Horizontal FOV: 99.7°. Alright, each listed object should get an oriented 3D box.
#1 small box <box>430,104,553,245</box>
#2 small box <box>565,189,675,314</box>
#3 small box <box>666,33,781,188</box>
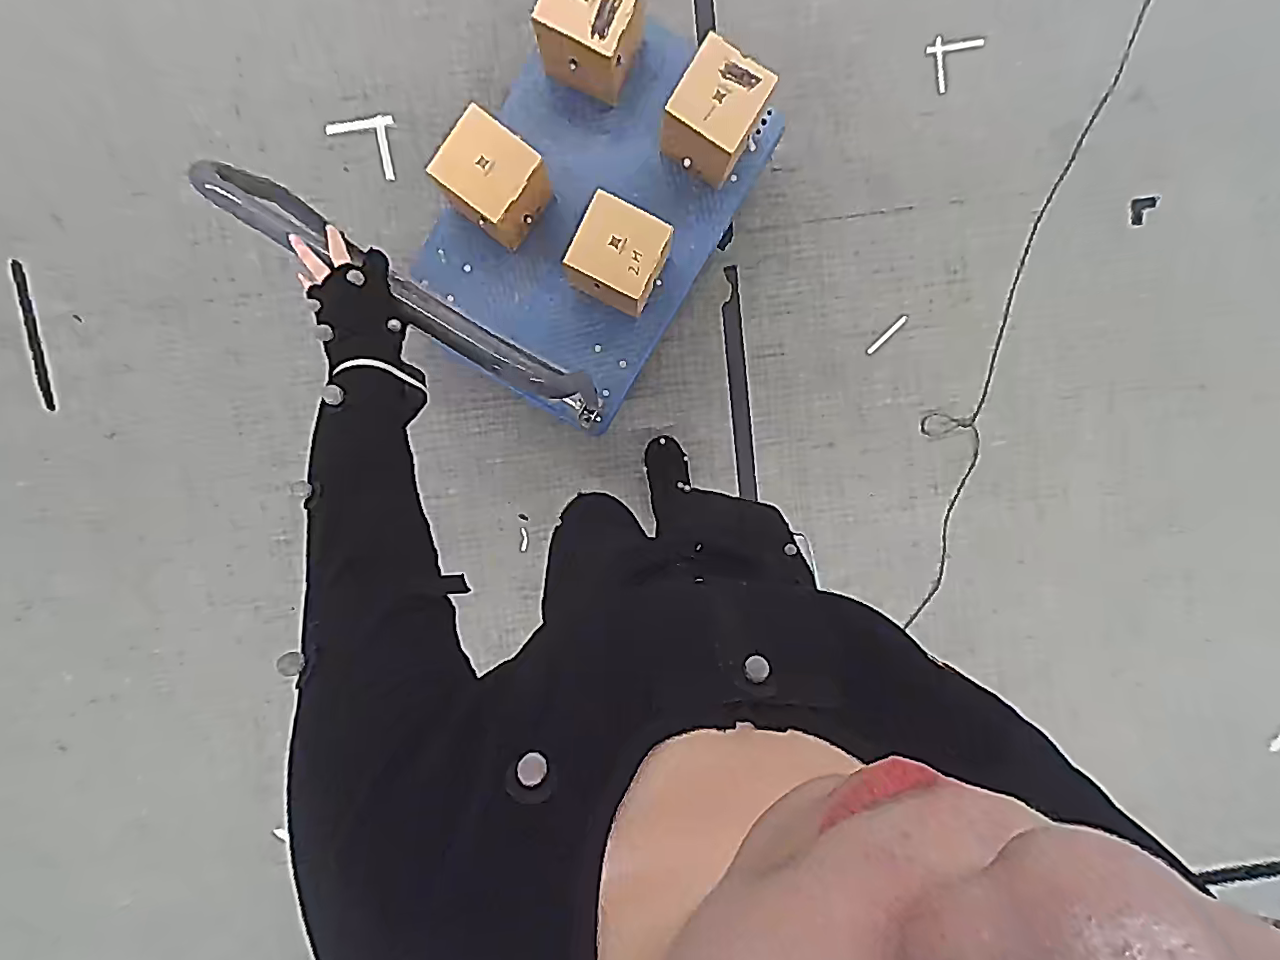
[{"bbox_3d":[-0.307,-0.638,1.158,0.179,0.176,0.168,36,93,-5],"label":"small box"},{"bbox_3d":[-0.042,-0.483,1.175,0.179,0.176,0.168,27,94,-3],"label":"small box"},{"bbox_3d":[0.166,-0.775,1.155,0.168,0.176,0.179,32,95,-4],"label":"small box"}]
